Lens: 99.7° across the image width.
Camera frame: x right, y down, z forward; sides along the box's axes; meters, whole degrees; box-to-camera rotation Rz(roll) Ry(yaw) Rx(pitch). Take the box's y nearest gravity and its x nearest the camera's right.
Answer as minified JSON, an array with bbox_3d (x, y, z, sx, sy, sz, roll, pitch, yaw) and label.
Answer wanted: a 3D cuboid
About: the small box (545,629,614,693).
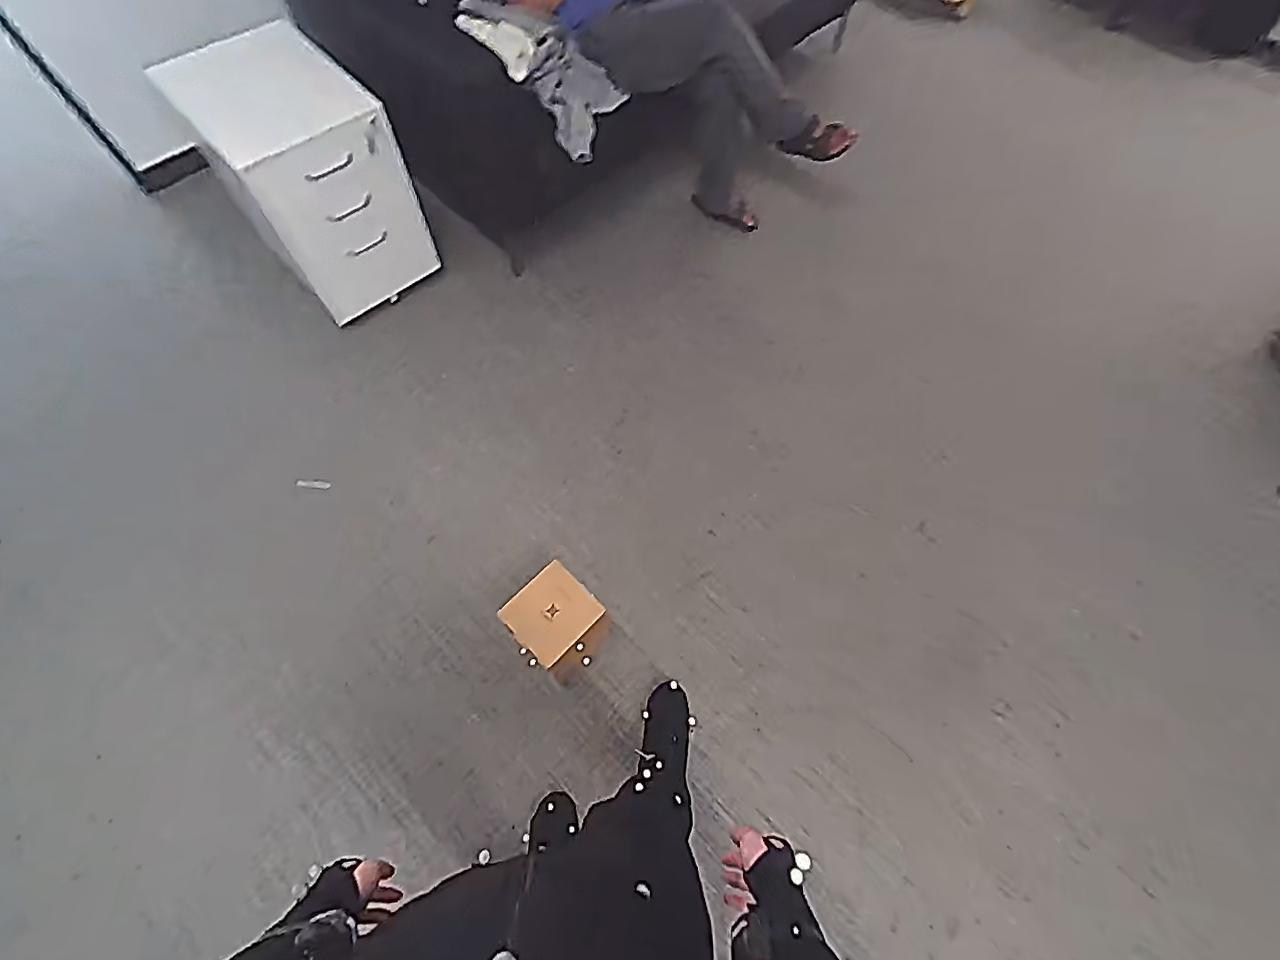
[{"bbox_3d":[-0.184,0.411,1.371,0.179,0.176,0.168,-41,71,-20],"label":"small box"}]

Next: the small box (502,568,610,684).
[{"bbox_3d":[-0.180,0.338,1.227,0.168,0.176,0.179,41,68,16],"label":"small box"}]
